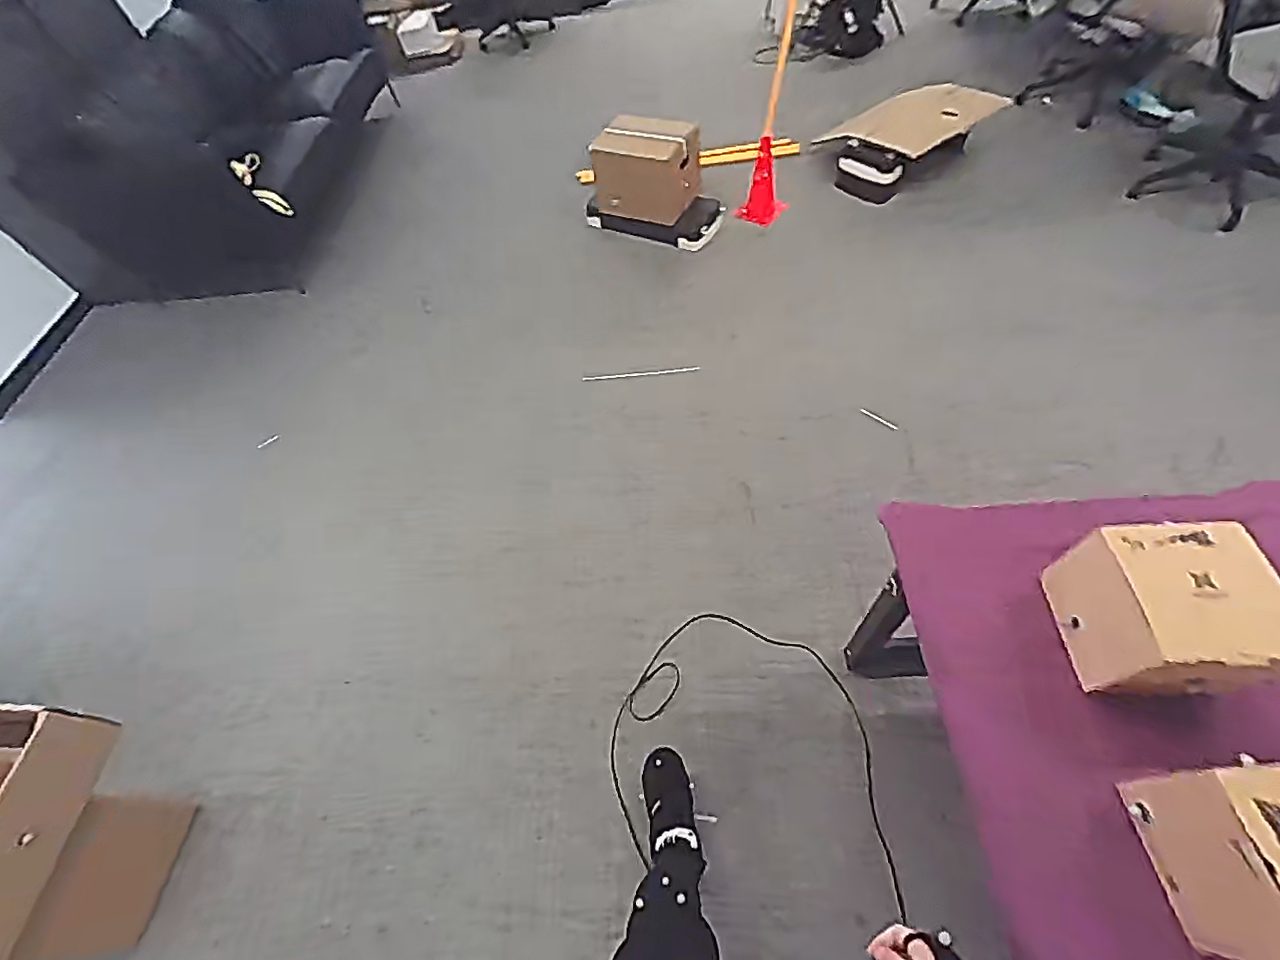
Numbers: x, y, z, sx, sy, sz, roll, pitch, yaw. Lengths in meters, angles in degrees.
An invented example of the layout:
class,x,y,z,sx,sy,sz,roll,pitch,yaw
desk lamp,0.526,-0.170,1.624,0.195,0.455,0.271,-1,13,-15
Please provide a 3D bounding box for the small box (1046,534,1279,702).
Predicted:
class,x,y,z,sx,sy,sz,roll,pitch,yaw
small box,0.686,0.186,0.710,0.168,0.176,0.179,-2,57,6

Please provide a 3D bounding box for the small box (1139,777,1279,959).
class,x,y,z,sx,sy,sz,roll,pitch,yaw
small box,0.683,0.408,0.560,0.179,0.176,0.168,-6,56,3
